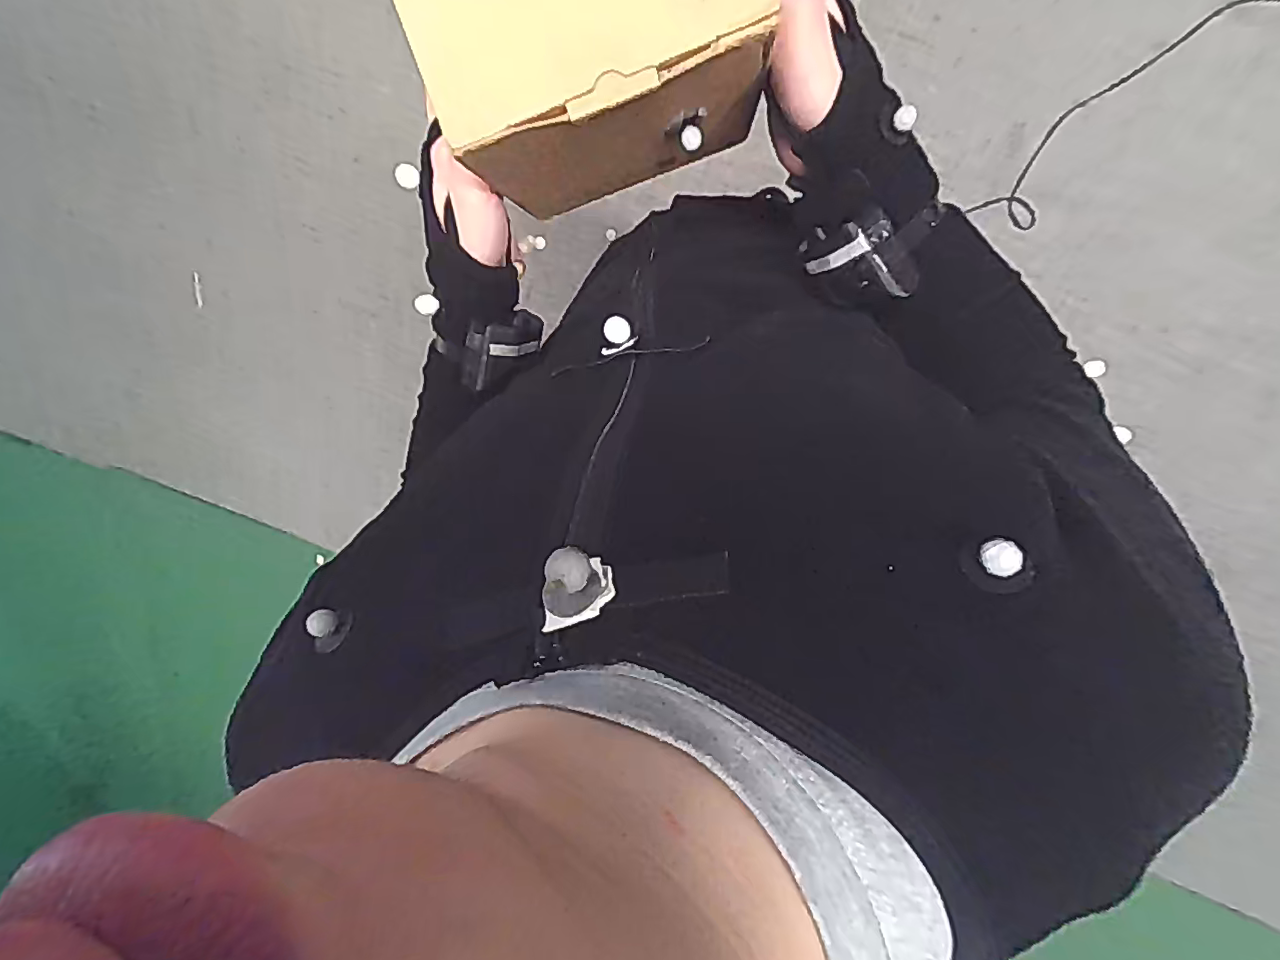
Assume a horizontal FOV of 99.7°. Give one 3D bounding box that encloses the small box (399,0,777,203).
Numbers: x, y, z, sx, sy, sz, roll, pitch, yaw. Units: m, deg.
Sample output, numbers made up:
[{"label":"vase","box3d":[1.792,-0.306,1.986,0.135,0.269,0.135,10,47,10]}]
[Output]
[{"label":"small box","box3d":[-0.033,-0.280,0.309,0.168,0.176,0.179,-17,103,9]}]
